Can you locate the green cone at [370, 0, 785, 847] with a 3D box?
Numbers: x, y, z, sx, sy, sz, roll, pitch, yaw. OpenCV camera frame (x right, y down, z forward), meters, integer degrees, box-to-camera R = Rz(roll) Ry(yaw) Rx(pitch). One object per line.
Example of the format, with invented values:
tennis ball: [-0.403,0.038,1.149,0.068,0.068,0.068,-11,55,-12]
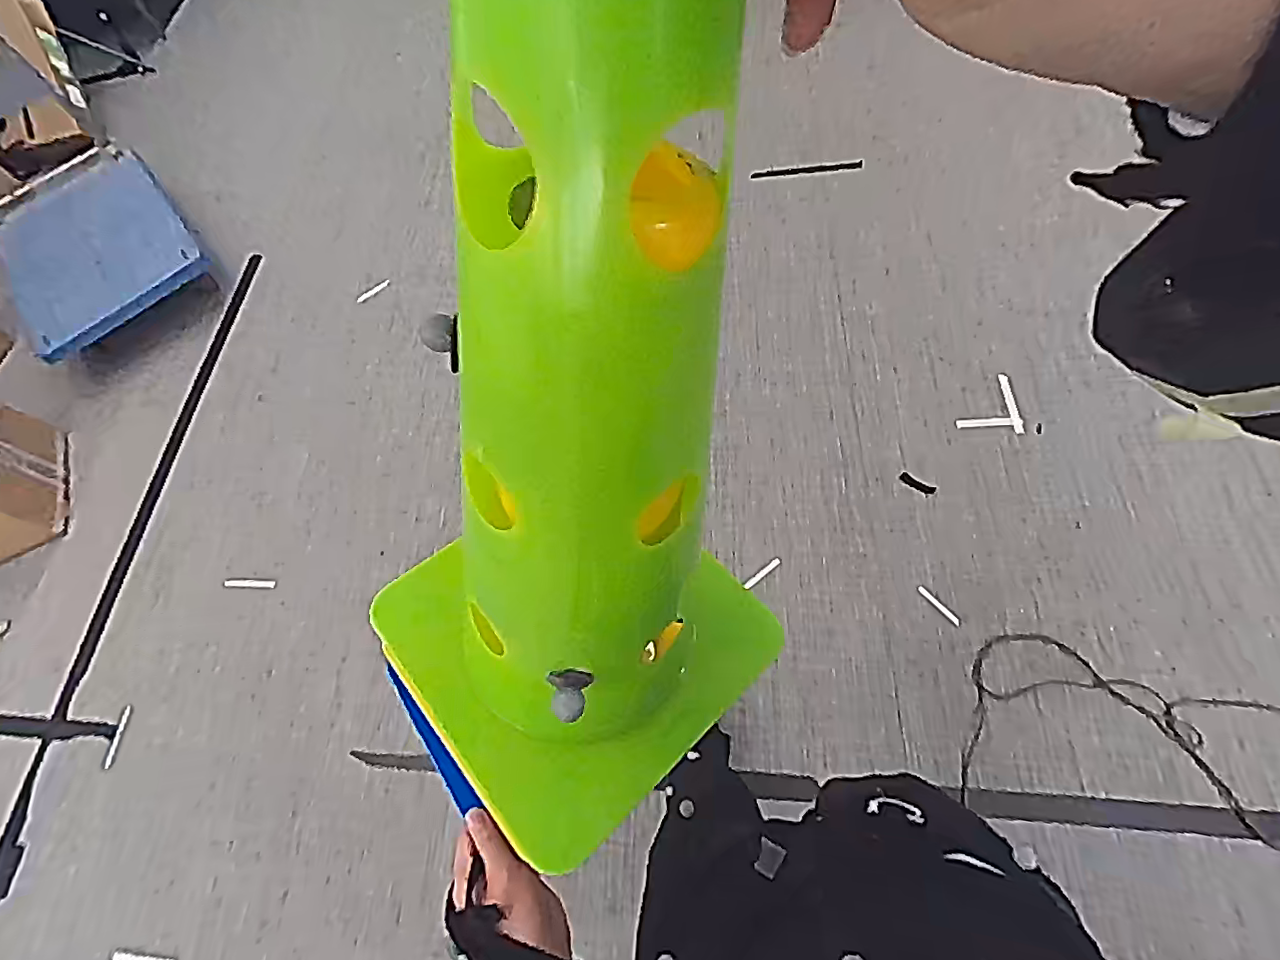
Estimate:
green cone: [-0.019,-0.022,0.204,0.200,0.368,0.202,-36,66,-27]
